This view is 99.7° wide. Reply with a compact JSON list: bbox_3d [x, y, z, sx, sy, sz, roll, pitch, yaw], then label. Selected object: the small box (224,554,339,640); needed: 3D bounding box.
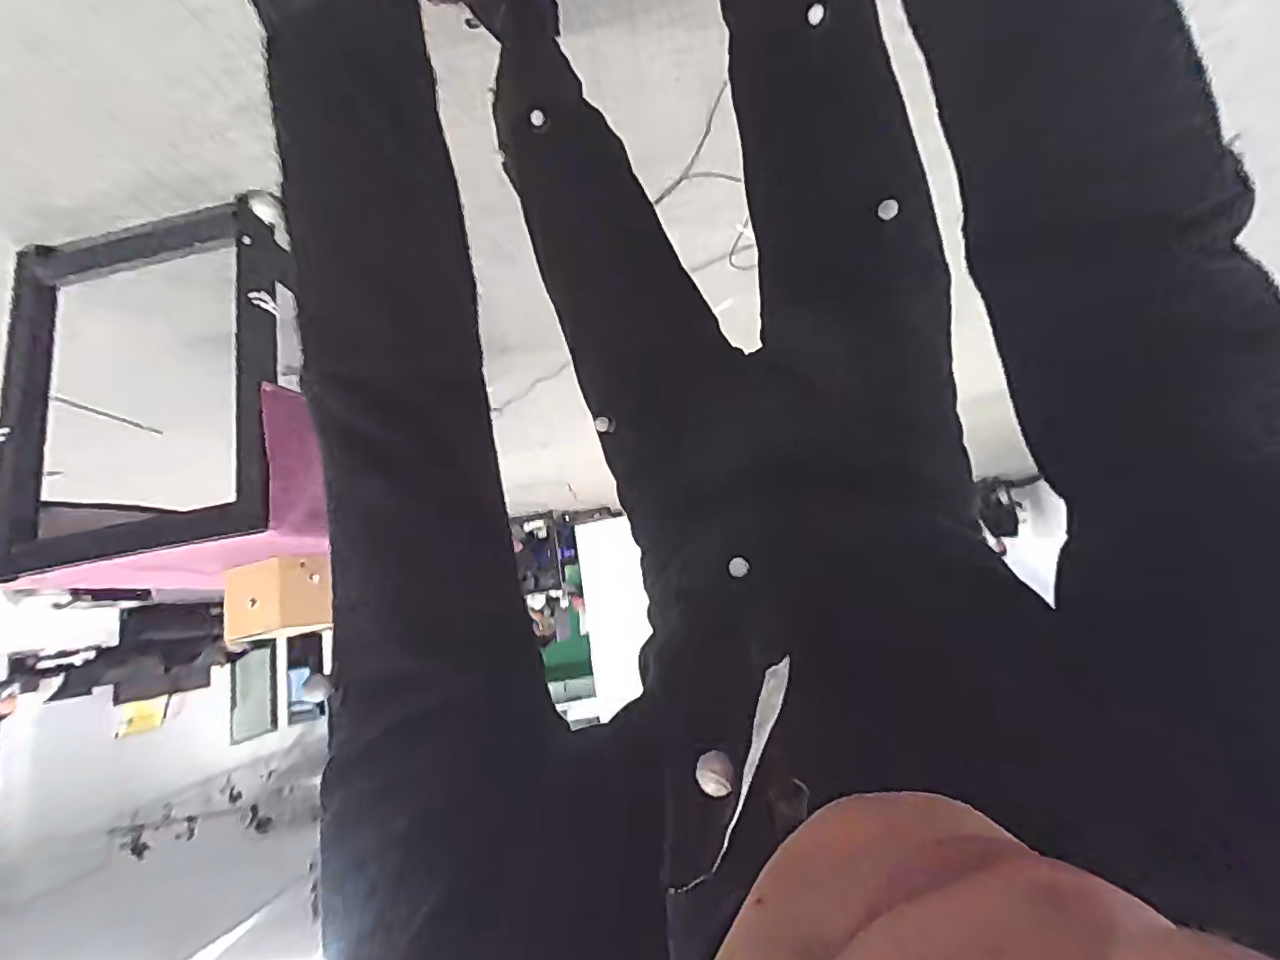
[{"bbox_3d":[-0.861,0.281,1.306,0.179,0.176,0.168,-15,167,16],"label":"small box"}]
